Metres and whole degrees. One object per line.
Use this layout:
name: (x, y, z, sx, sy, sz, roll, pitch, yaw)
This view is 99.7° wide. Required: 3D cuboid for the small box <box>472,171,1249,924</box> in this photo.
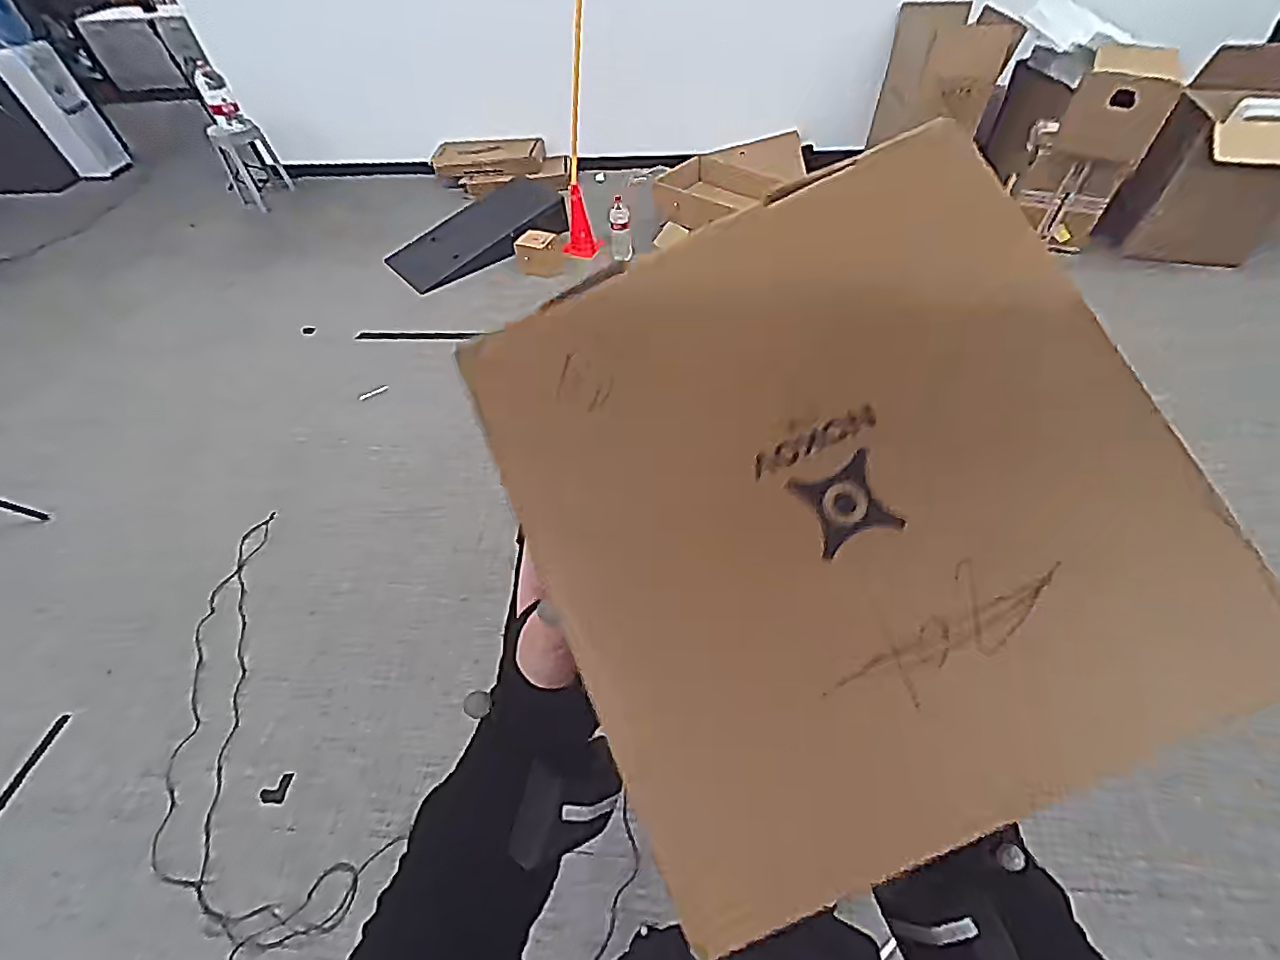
small box: (0.060, 0.022, 0.238, 0.168, 0.176, 0.179, -26, 80, 2)
